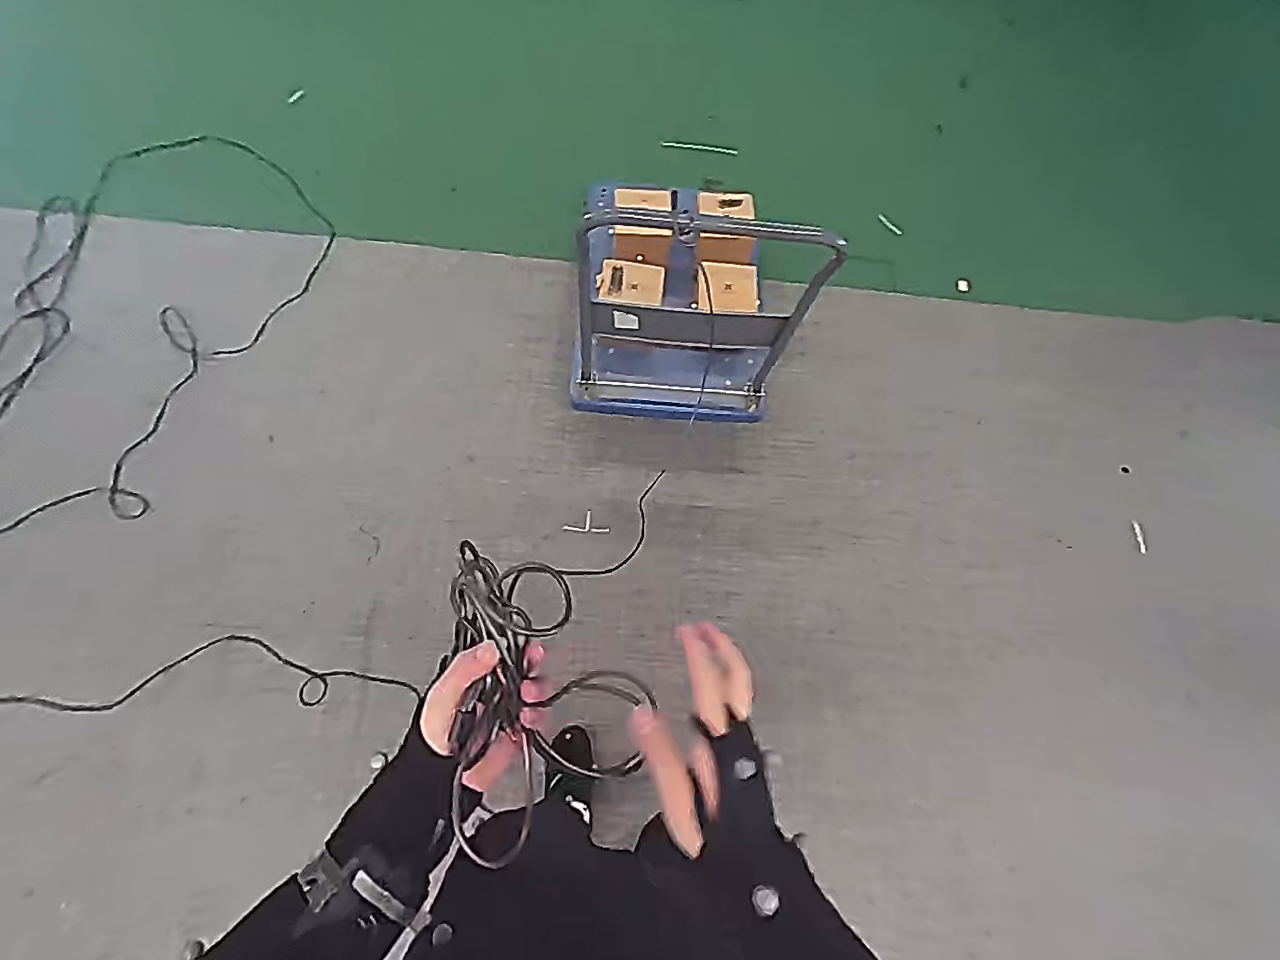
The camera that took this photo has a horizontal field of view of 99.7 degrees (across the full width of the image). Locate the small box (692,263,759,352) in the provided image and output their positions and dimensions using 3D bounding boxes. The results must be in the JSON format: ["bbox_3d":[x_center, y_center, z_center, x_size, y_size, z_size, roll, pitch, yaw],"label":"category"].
[{"bbox_3d":[0.247,-0.504,1.588,0.168,0.176,0.179,5,69,-2],"label":"small box"}]

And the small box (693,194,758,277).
[{"bbox_3d":[0.260,-0.755,1.686,0.168,0.176,0.179,0,70,-3],"label":"small box"}]

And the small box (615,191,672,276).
[{"bbox_3d":[0.008,-0.755,1.669,0.168,0.176,0.179,1,69,-5],"label":"small box"}]
